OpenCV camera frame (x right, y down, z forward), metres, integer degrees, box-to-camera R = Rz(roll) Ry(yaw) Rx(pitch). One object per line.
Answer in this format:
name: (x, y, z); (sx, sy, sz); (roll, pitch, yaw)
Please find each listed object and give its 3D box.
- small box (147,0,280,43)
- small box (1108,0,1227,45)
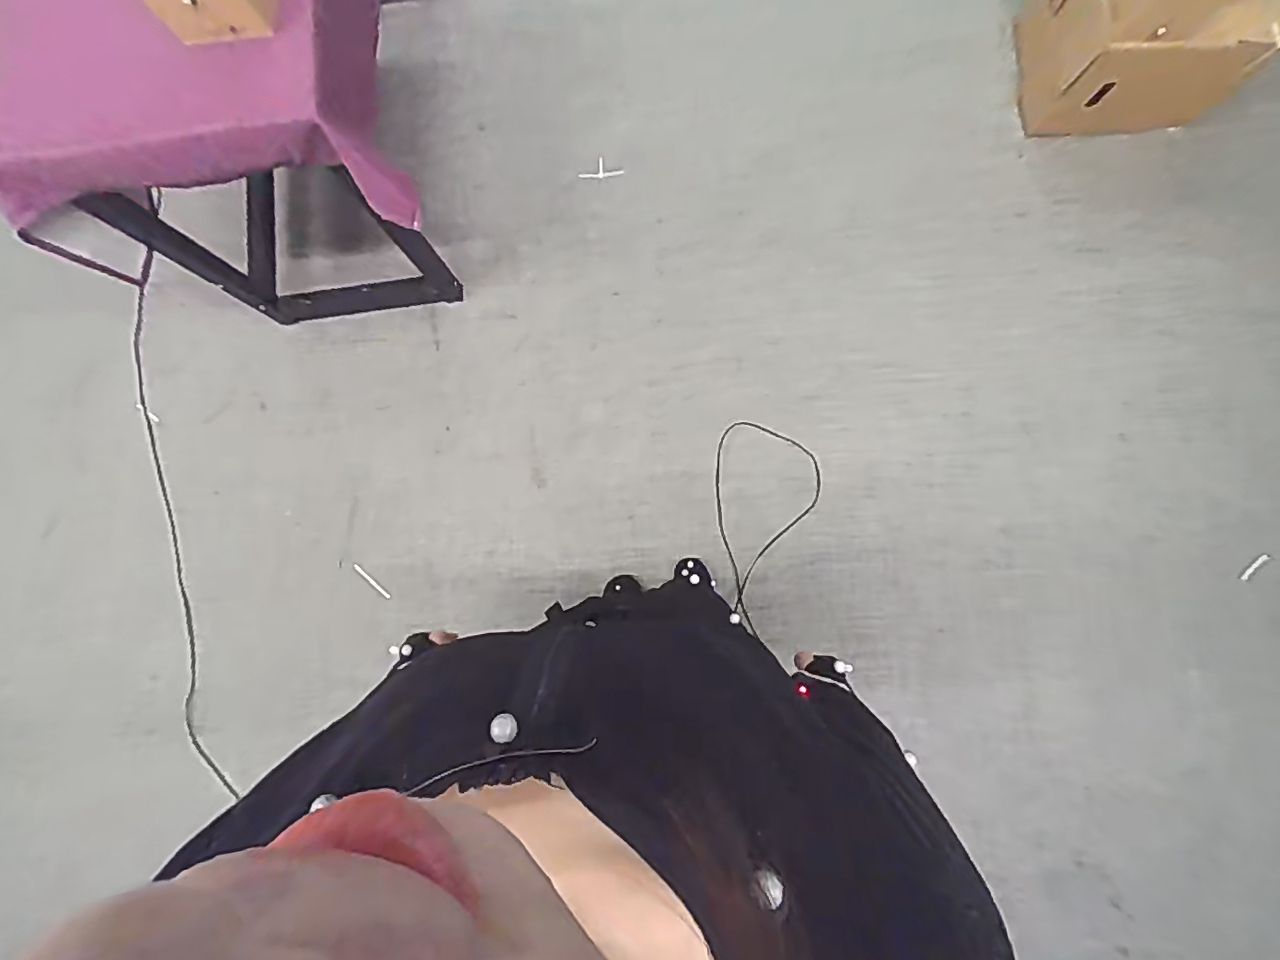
small box: (-0.722, -0.860, 0.886); (0.168, 0.176, 0.179); (-3, 82, 2)
small box: (1.242, -1.155, 1.253); (0.179, 0.176, 0.168); (2, 83, 1)
